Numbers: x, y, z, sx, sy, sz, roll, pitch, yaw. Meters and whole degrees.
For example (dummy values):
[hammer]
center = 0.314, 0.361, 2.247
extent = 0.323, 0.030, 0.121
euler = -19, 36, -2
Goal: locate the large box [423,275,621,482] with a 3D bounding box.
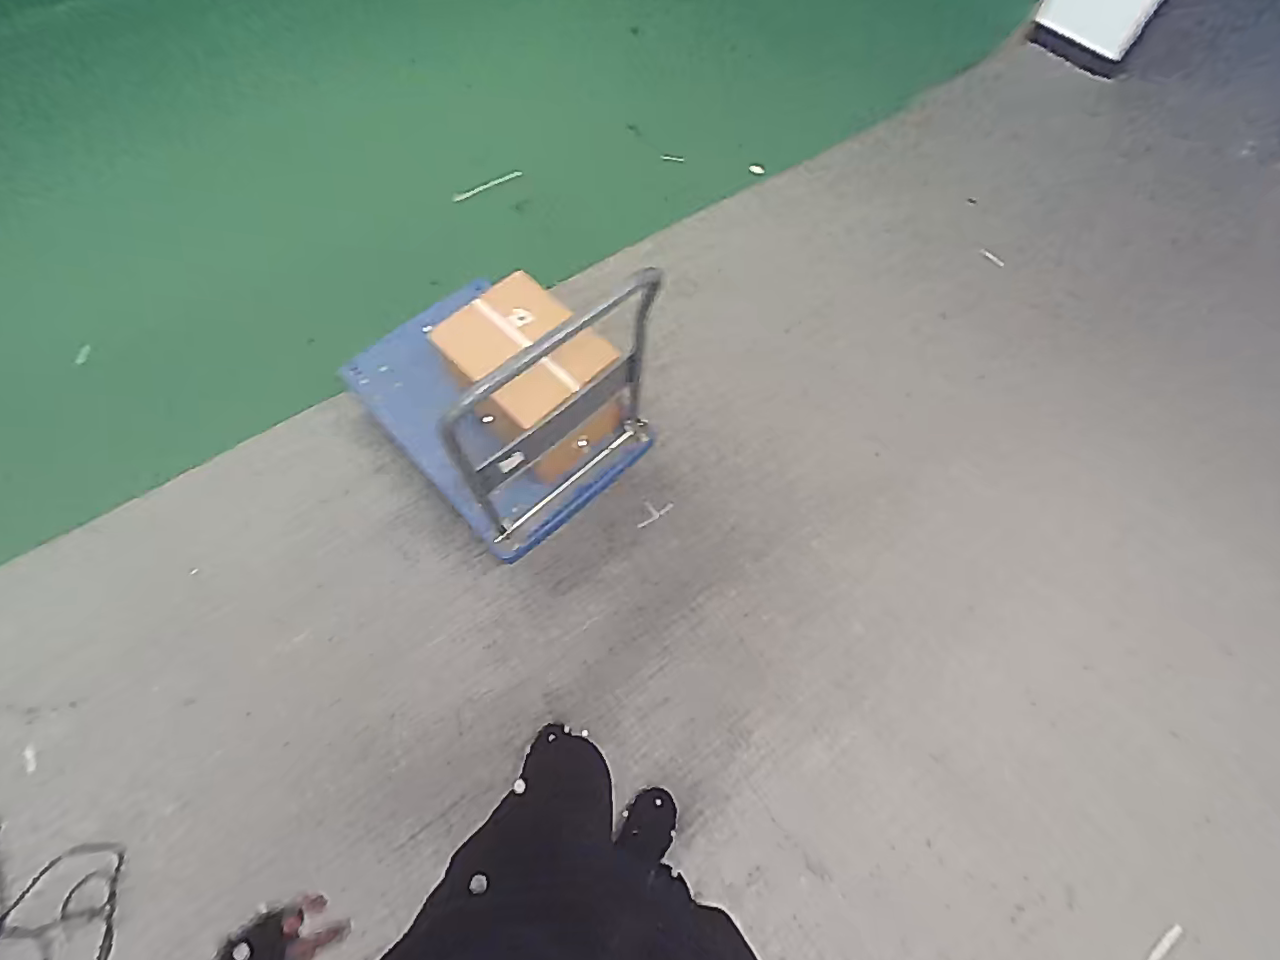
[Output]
[large box]
center = -0.300, -0.270, 1.487
extent = 0.408, 0.320, 0.320
euler = 41, 71, 17
